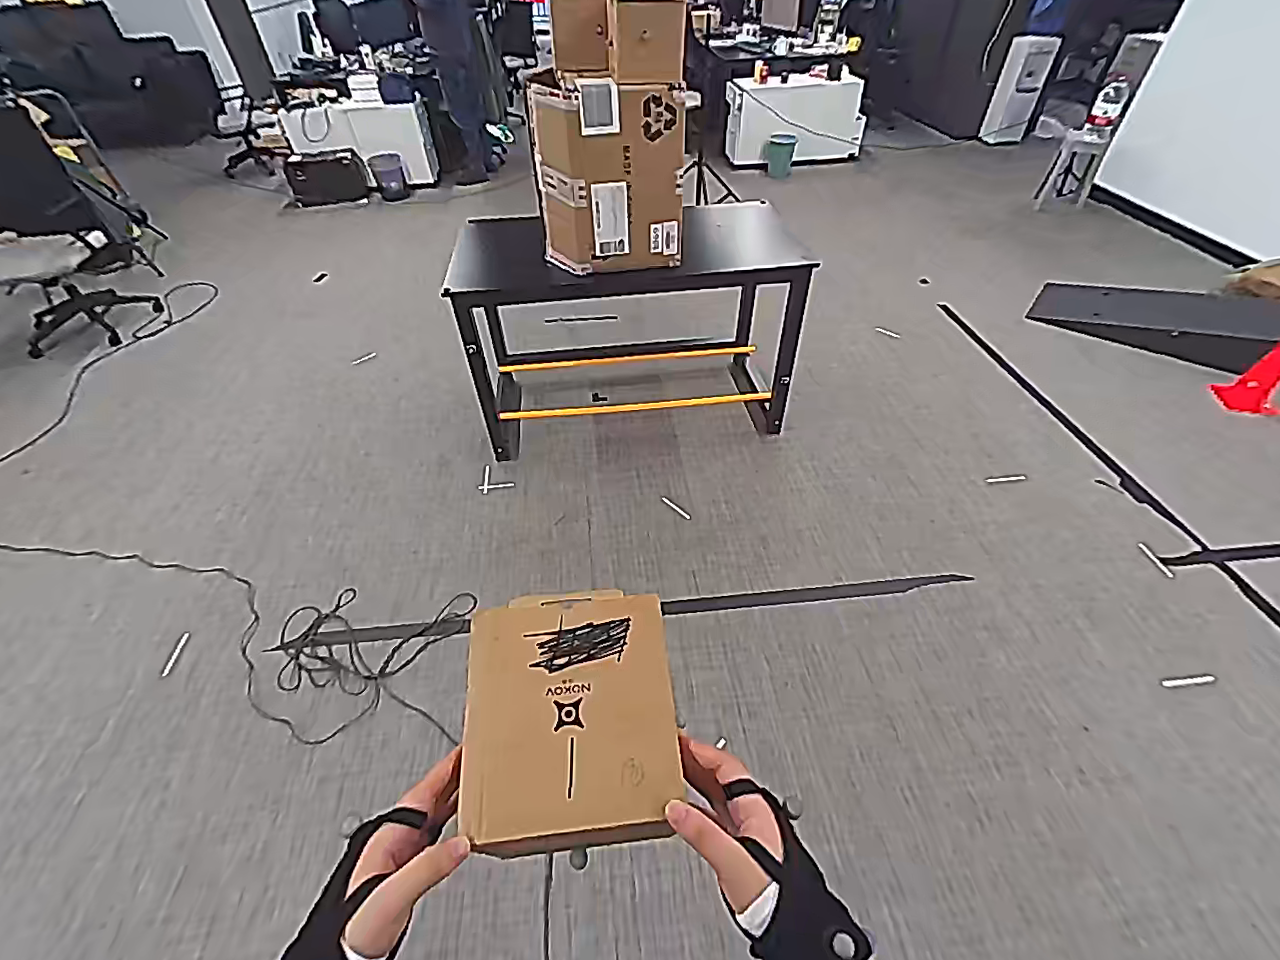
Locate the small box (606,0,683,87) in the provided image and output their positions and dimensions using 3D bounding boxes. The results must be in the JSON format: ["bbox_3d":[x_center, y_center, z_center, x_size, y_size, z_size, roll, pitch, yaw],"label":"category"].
[{"bbox_3d":[0.011,-1.153,1.422,0.179,0.176,0.168,-8,47,-7],"label":"small box"}]

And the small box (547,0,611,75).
[{"bbox_3d":[-0.170,-1.278,1.550,0.179,0.176,0.168,-7,42,-7],"label":"small box"}]

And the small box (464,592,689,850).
[{"bbox_3d":[-0.055,0.225,0.502,0.168,0.176,0.179,-5,53,-4],"label":"small box"}]
